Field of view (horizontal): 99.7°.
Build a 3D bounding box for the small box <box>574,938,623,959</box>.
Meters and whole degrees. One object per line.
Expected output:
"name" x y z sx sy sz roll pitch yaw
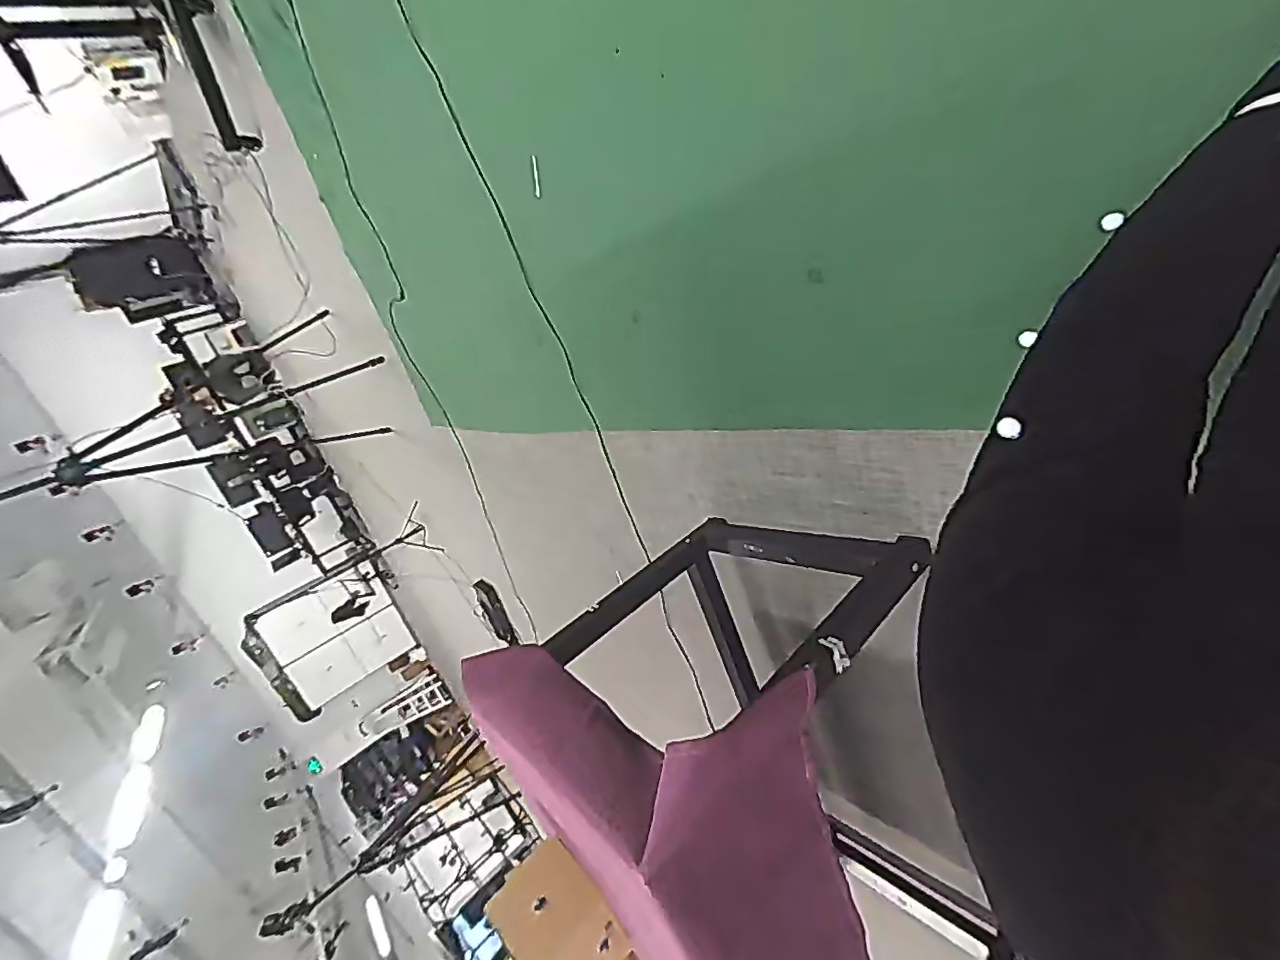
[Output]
"small box" -0.073 1.089 1.095 0.179 0.176 0.168 11 125 49
